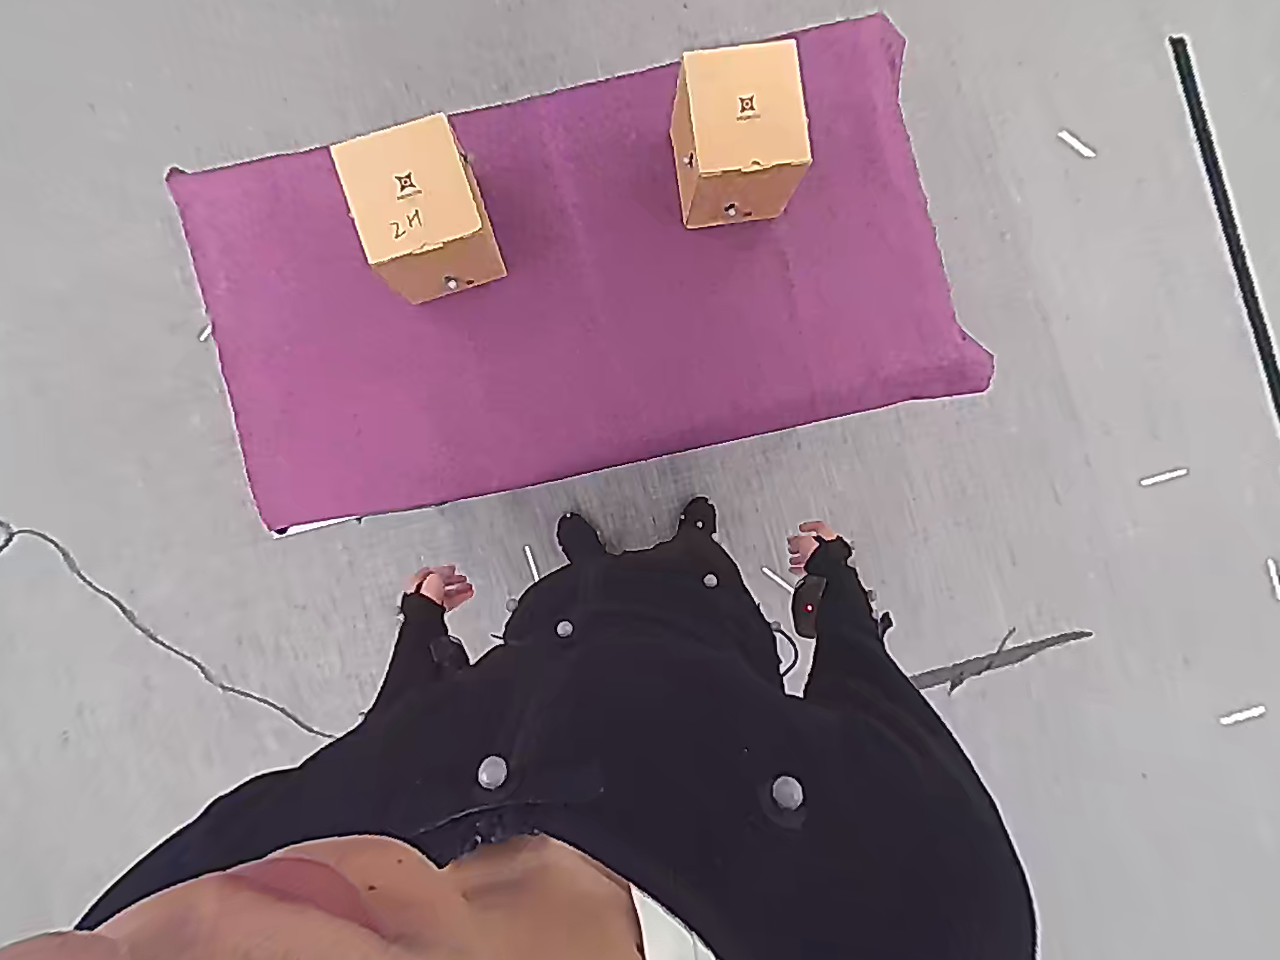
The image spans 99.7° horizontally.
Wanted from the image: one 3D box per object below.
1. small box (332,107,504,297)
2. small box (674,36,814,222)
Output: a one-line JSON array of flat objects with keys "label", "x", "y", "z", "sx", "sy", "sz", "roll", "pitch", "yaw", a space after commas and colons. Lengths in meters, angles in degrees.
[{"label": "small box", "x": -0.321, "y": -0.406, "z": 0.817, "sx": 0.168, "sy": 0.176, "sz": 0.179, "roll": -18, "pitch": 91, "yaw": -2}, {"label": "small box", "x": 0.150, "y": -0.531, "z": 0.839, "sx": 0.168, "sy": 0.176, "sz": 0.179, "roll": -8, "pitch": 91, "yaw": -2}]
